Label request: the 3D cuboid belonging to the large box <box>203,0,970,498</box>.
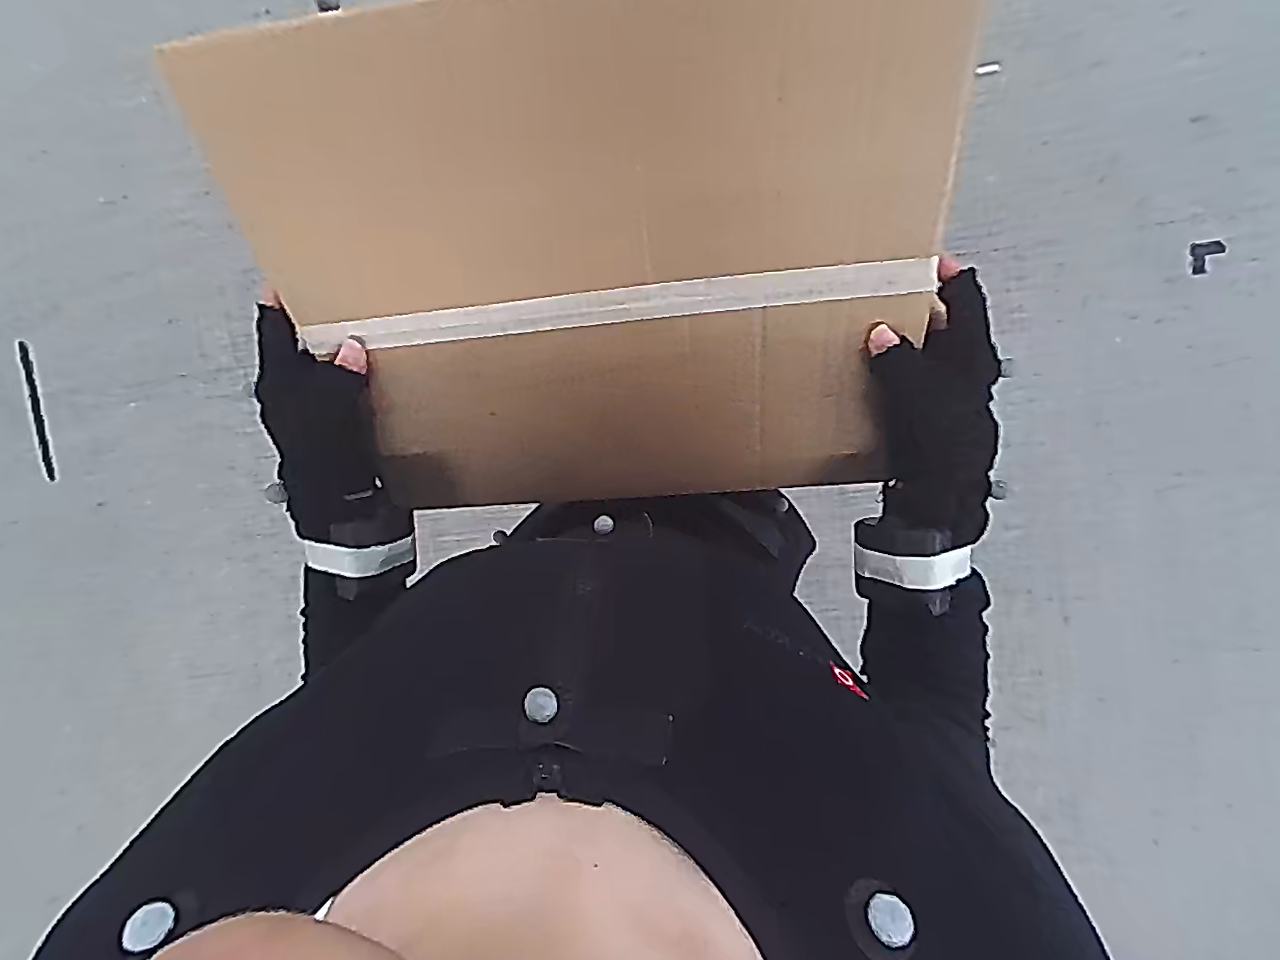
[{"bbox_3d":[-0.016,-0.208,0.471,0.408,0.320,0.320,-4,129,7],"label":"large box"}]
